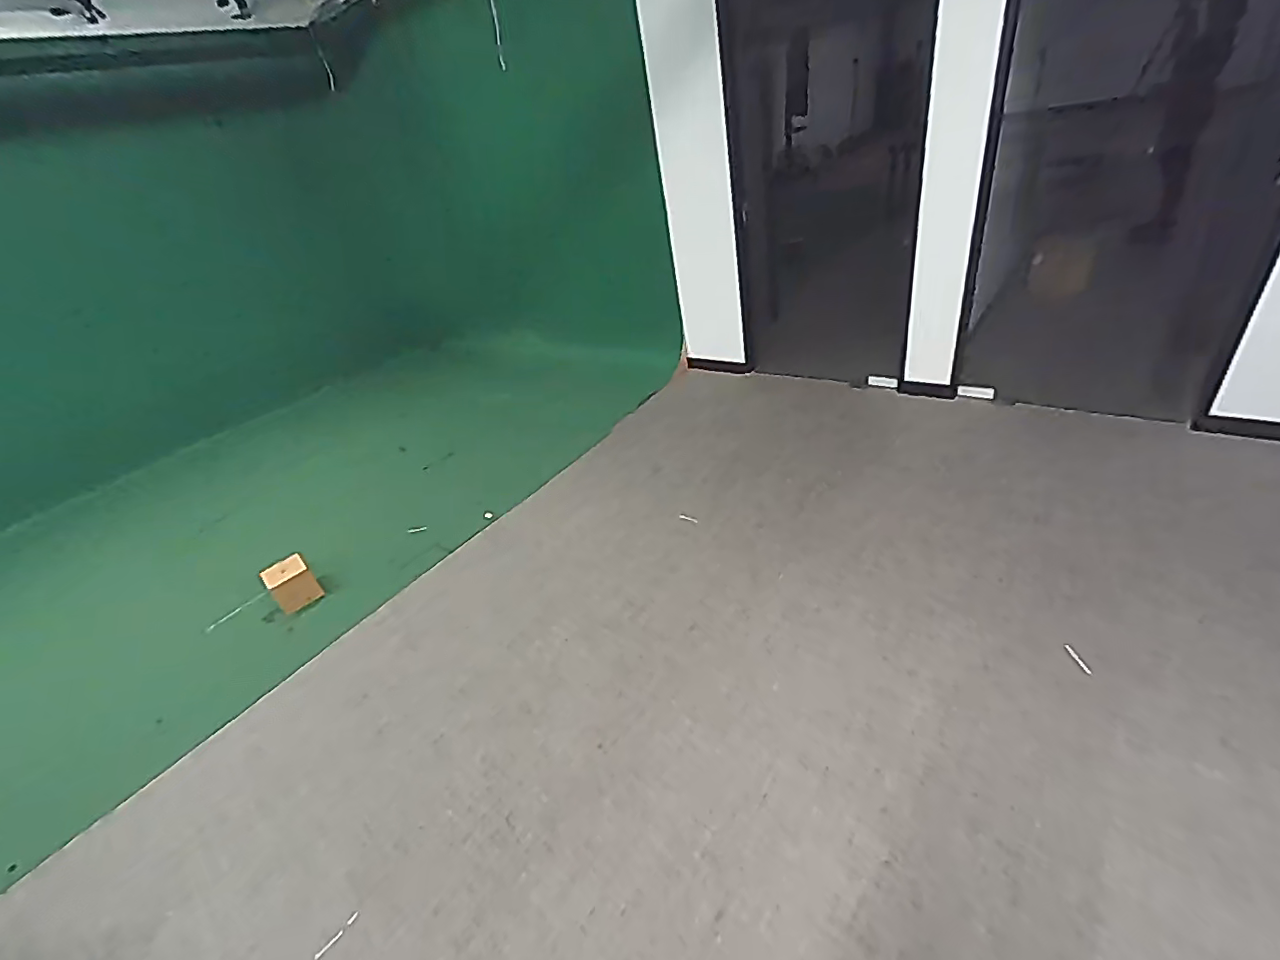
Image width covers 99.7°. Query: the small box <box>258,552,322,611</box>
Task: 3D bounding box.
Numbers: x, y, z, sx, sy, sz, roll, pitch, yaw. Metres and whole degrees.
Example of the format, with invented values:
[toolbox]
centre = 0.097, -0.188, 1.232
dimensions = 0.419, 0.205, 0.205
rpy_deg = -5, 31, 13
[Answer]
[small box]
centre = -1.572, 0.464, 2.437
dimensions = 0.168, 0.176, 0.179
rpy_deg = -35, 40, -31
